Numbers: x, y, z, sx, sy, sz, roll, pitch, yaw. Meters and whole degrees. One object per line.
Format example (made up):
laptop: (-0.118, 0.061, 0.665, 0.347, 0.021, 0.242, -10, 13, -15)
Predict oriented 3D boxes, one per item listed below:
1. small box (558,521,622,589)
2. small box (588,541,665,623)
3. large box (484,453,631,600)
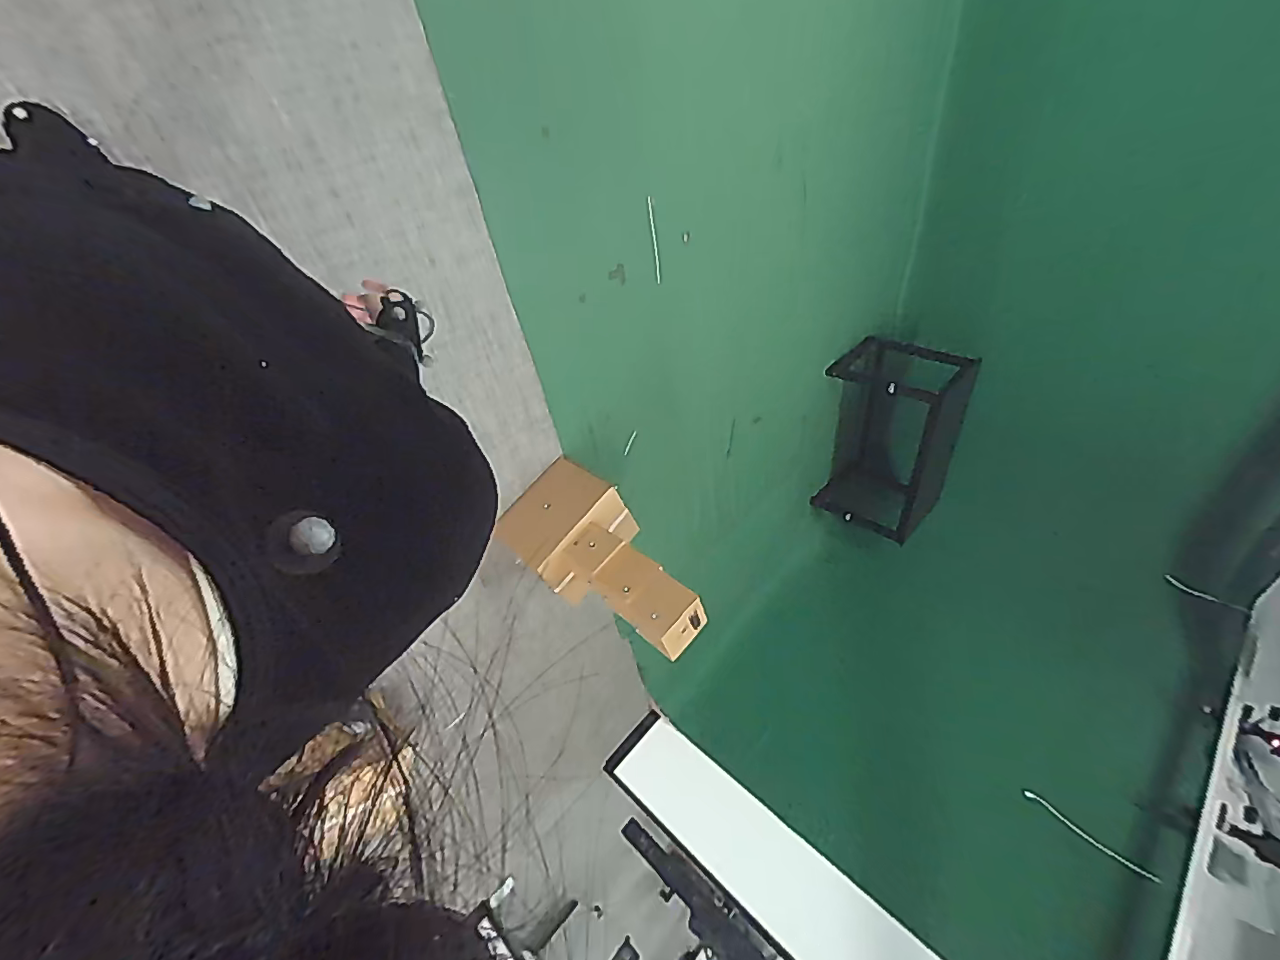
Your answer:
small box: (-0.159, 0.267, 1.899, 0.168, 0.176, 0.179, -45, 141, -21)
small box: (-0.044, 0.336, 1.808, 0.179, 0.176, 0.168, -44, 140, -22)
large box: (-0.309, 0.172, 2.074, 0.408, 0.320, 0.320, -50, 144, -18)
